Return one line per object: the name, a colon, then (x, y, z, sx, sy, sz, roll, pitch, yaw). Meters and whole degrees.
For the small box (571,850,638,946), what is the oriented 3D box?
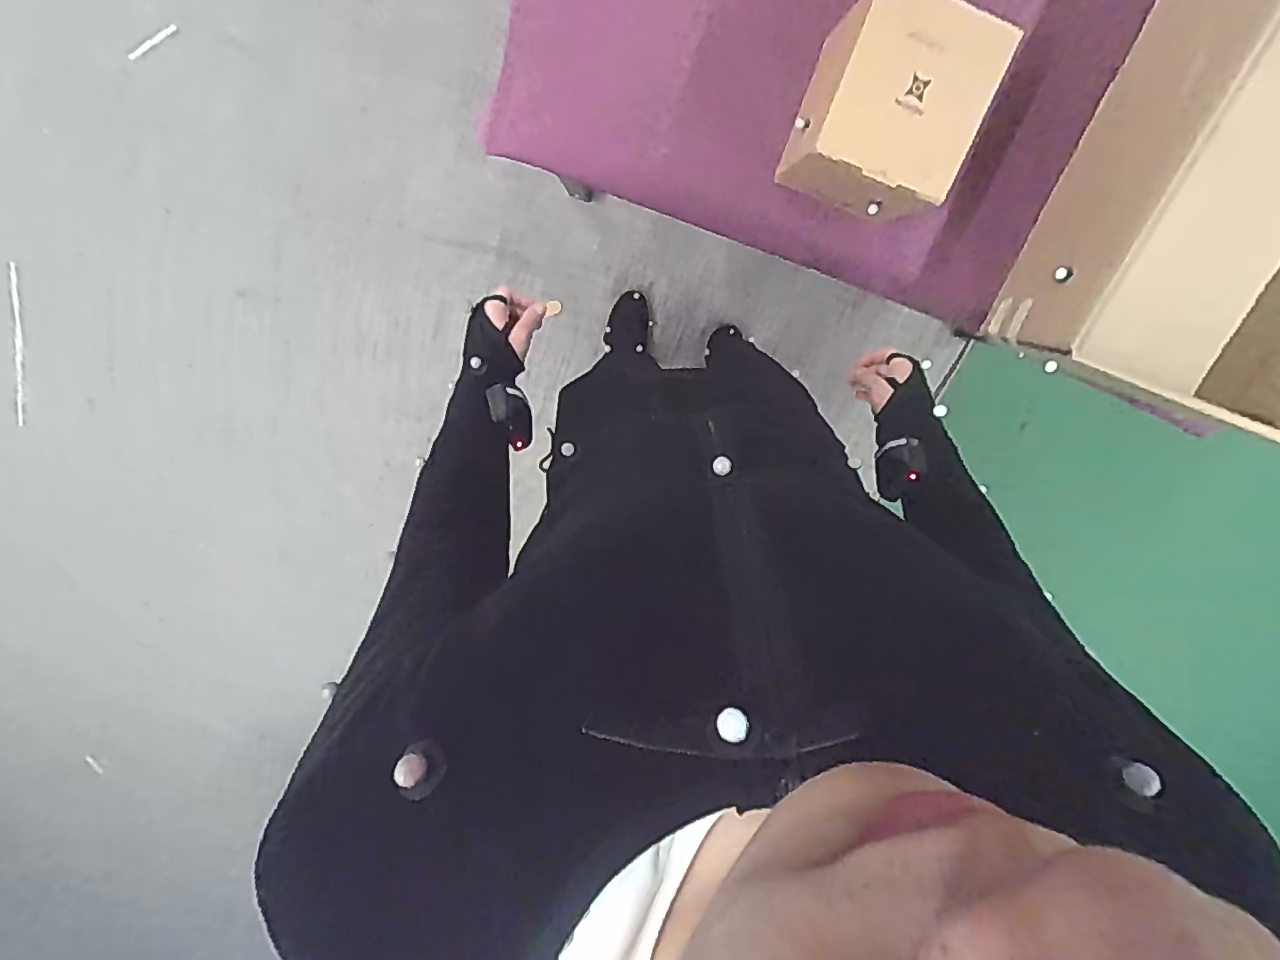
small box: (-0.106, 1.327, 1.723, 0.179, 0.176, 0.168, -13, 109, 3)

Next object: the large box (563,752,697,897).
large box: (-0.034, 1.257, 1.963, 0.408, 0.320, 0.320, -13, 111, 3)

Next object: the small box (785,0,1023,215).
small box: (0.292, -0.442, 0.650, 0.168, 0.176, 0.179, 18, 107, -8)
